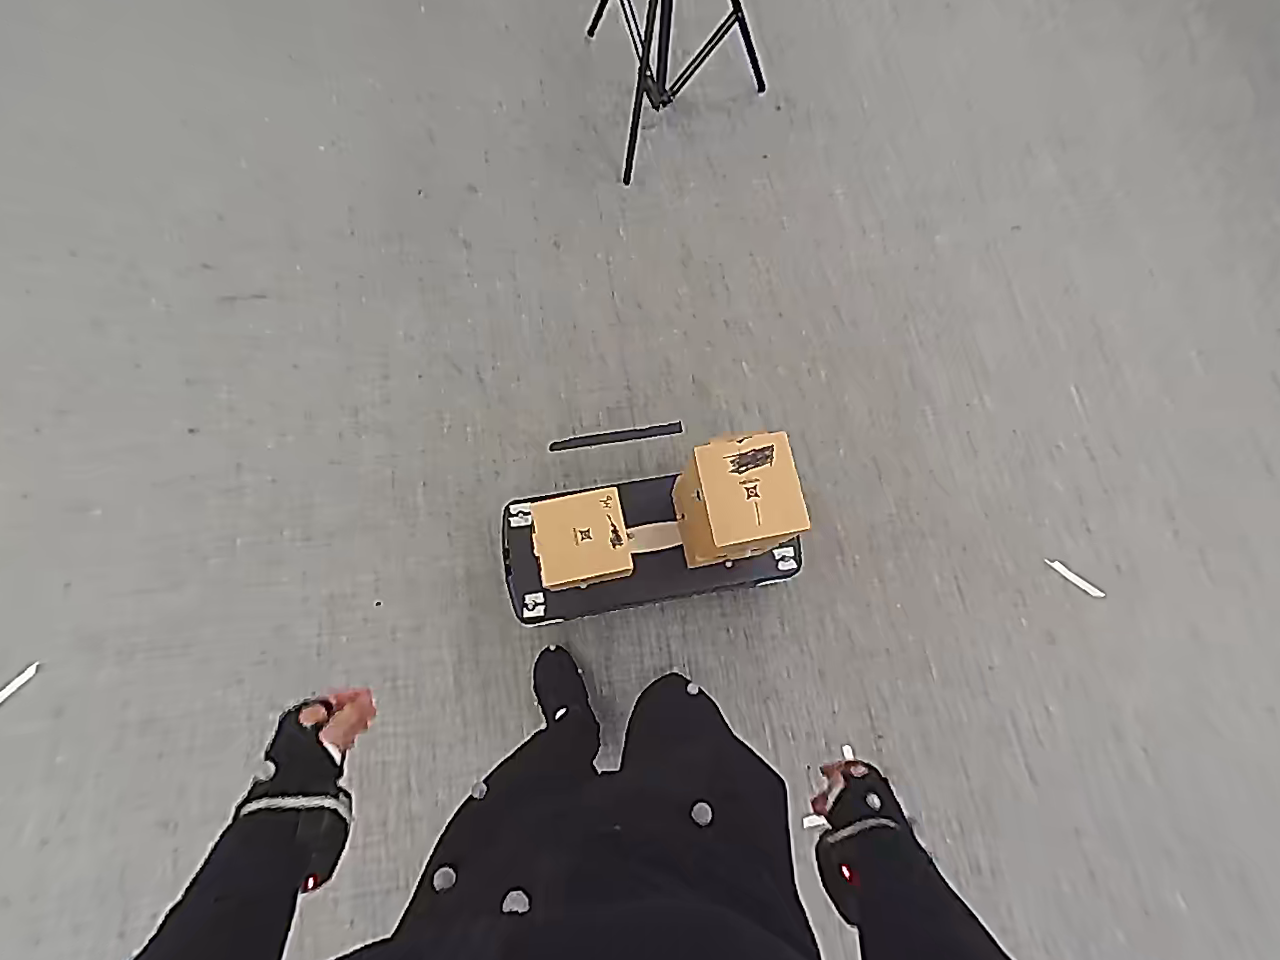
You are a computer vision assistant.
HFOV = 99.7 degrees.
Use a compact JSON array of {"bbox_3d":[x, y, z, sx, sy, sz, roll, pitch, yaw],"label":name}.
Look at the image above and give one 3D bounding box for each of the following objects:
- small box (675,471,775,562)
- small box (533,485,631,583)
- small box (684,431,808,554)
[{"bbox_3d":[0.168,0.073,1.147,0.168,0.176,0.179,-10,77,-4],"label":"small box"},{"bbox_3d":[-0.117,0.123,1.125,0.179,0.176,0.168,-11,77,-5],"label":"small box"},{"bbox_3d":[0.181,0.029,0.989,0.168,0.176,0.179,-11,78,-4],"label":"small box"}]
